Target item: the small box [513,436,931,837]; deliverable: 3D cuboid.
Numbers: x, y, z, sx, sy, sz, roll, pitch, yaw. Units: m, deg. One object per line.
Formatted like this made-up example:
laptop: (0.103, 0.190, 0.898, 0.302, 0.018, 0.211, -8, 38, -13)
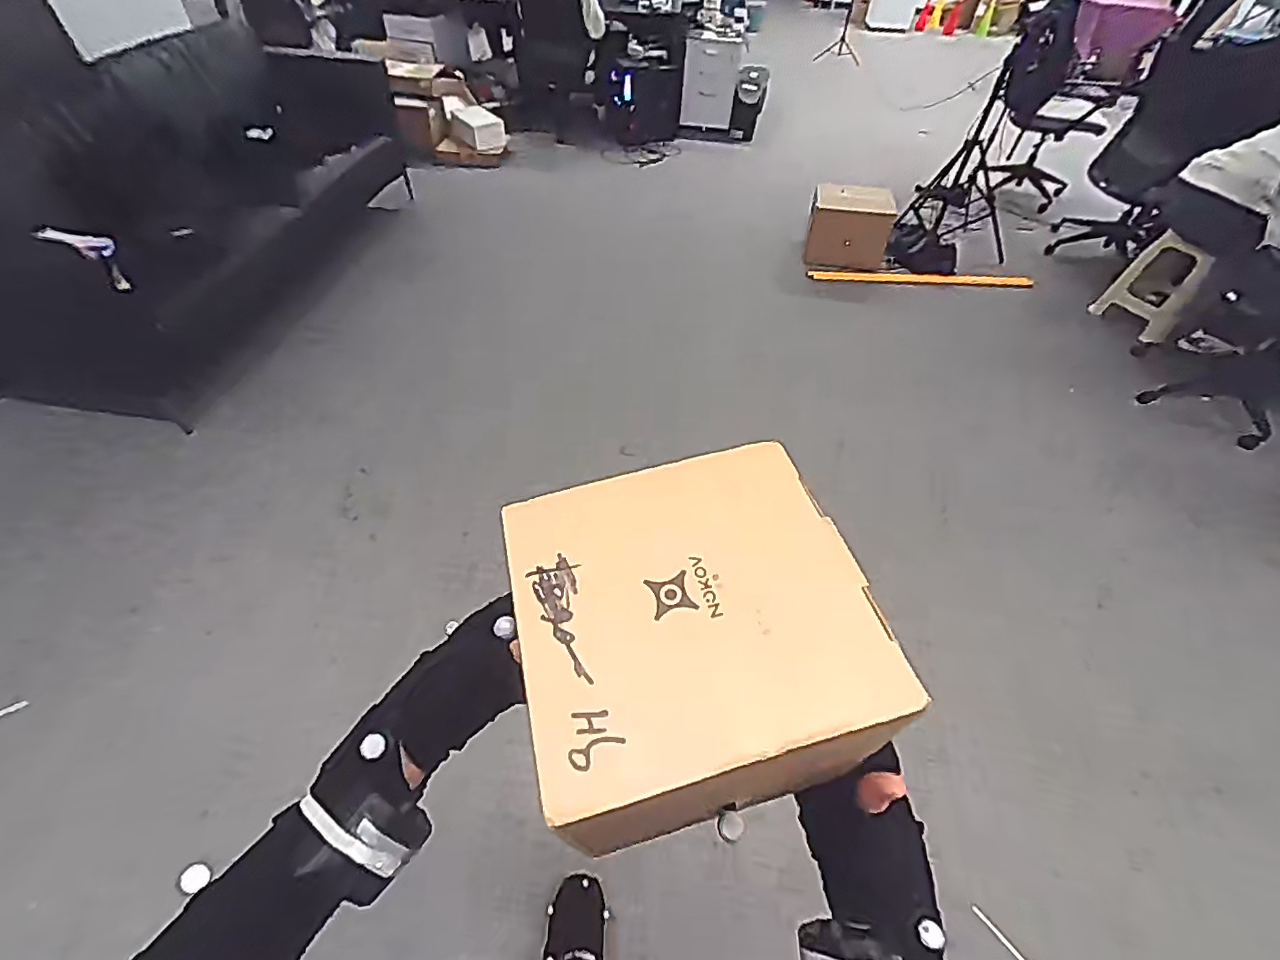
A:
small box: (0.030, 0.101, 0.339, 0.179, 0.176, 0.168, -13, 52, -8)
